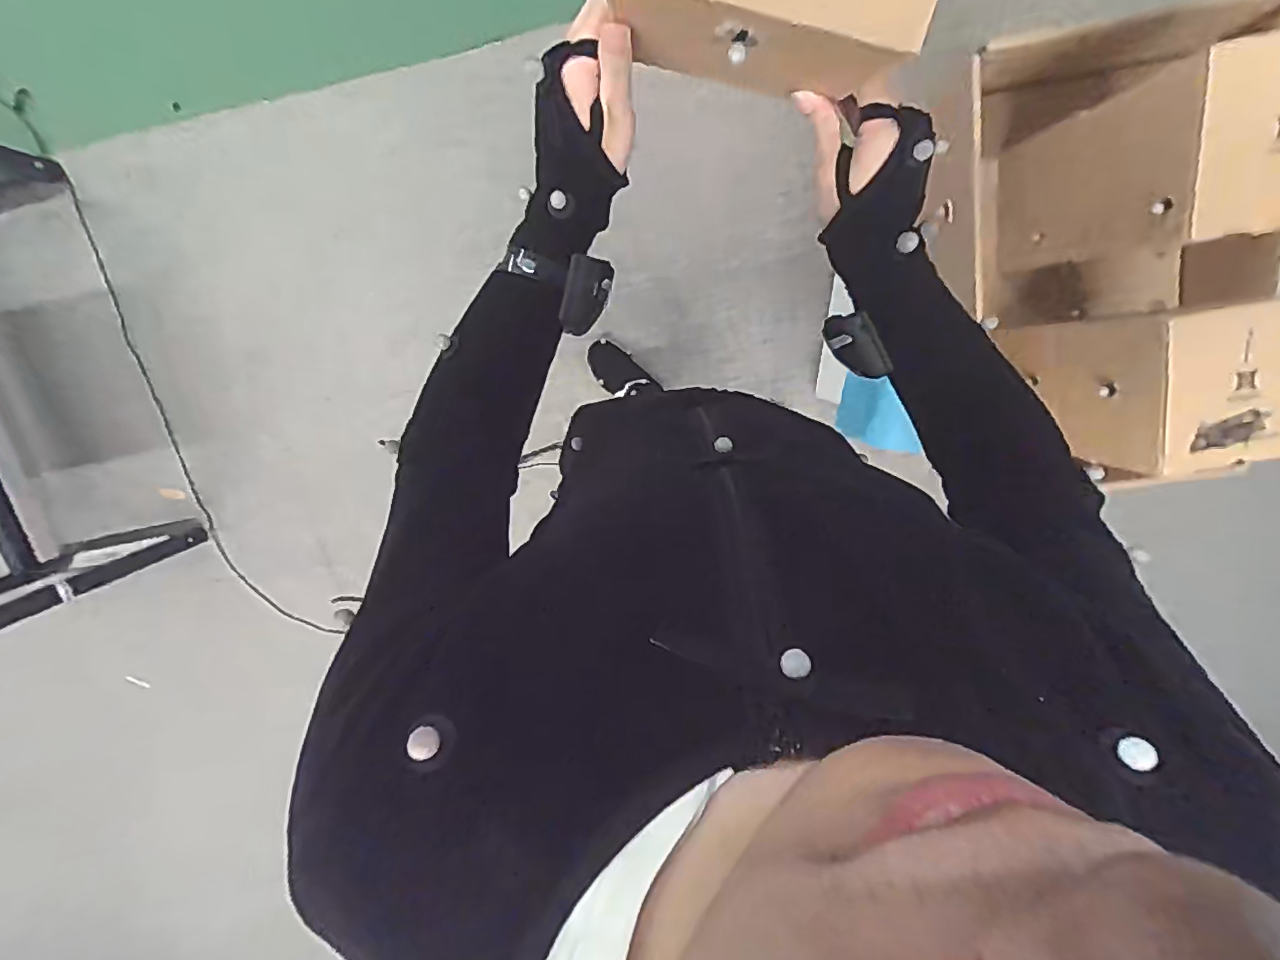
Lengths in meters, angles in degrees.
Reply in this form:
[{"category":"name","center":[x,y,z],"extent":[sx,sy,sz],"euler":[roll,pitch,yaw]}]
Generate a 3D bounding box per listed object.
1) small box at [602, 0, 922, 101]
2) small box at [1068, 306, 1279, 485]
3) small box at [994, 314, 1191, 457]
[{"category":"small box","center":[0.073,-0.347,0.315],"extent":[0.179,0.176,0.168],"euler":[11,115,-5]},{"category":"small box","center":[0.652,-0.104,0.644],"extent":[0.168,0.176,0.179],"euler":[-8,100,4]},{"category":"small box","center":[0.658,-0.140,0.804],"extent":[0.168,0.176,0.179],"euler":[-7,102,4]}]
